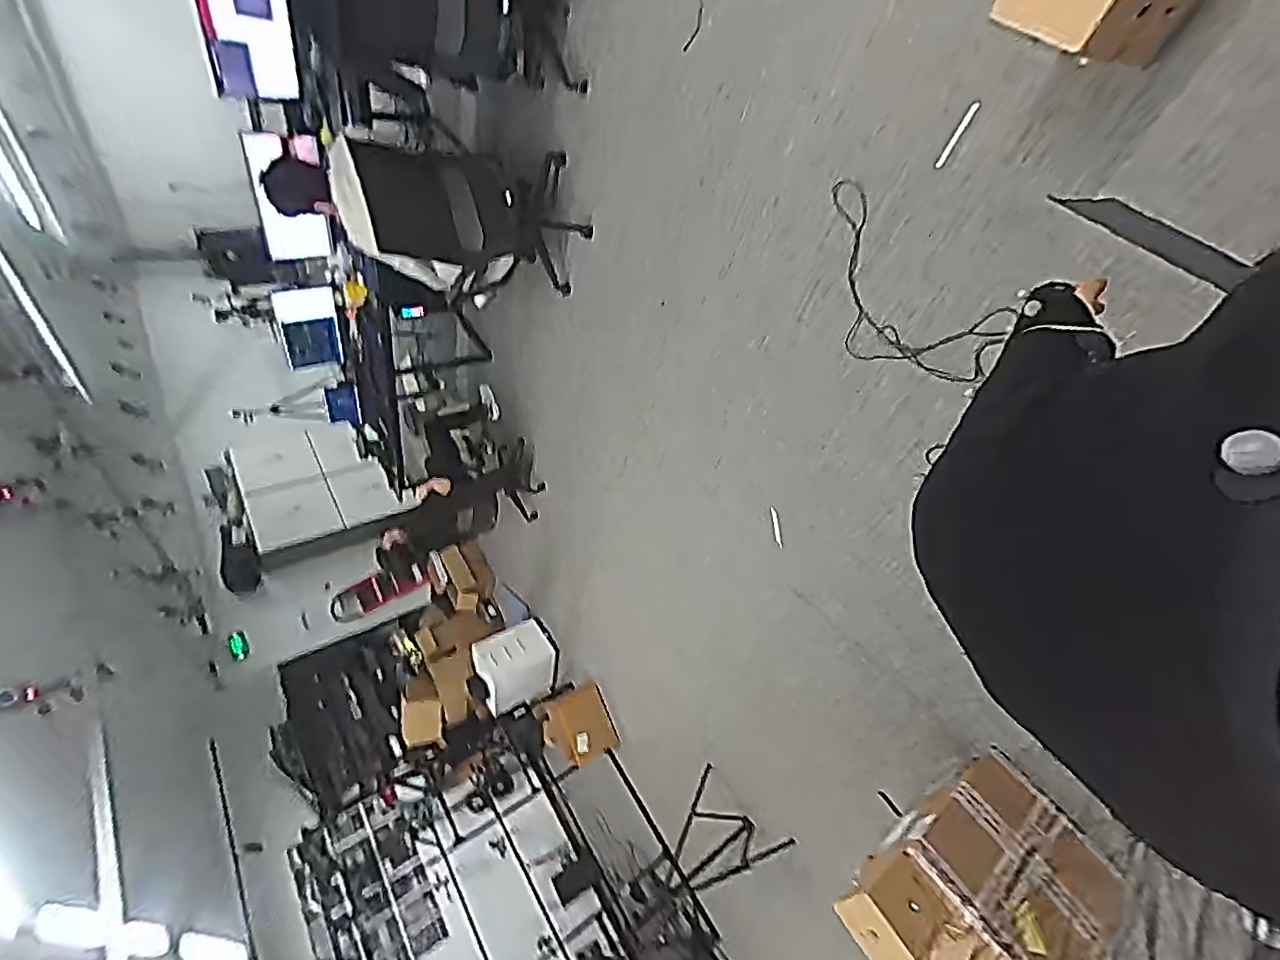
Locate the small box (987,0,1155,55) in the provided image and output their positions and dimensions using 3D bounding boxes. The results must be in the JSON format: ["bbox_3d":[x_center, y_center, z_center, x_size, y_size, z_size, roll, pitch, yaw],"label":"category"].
[{"bbox_3d":[0.720,-0.811,0.867,0.179,0.176,0.168,51,145,25],"label":"small box"}]

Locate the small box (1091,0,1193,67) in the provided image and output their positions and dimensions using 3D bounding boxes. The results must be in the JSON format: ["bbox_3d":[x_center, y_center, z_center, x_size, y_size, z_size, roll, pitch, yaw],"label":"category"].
[{"bbox_3d":[0.853,-0.860,0.948,0.168,0.176,0.179,50,144,27],"label":"small box"}]

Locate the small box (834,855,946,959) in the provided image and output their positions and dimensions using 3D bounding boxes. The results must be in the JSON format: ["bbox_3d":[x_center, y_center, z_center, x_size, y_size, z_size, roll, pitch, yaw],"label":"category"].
[{"bbox_3d":[0.645,1.105,1.386,0.168,0.176,0.179,51,140,31],"label":"small box"}]
